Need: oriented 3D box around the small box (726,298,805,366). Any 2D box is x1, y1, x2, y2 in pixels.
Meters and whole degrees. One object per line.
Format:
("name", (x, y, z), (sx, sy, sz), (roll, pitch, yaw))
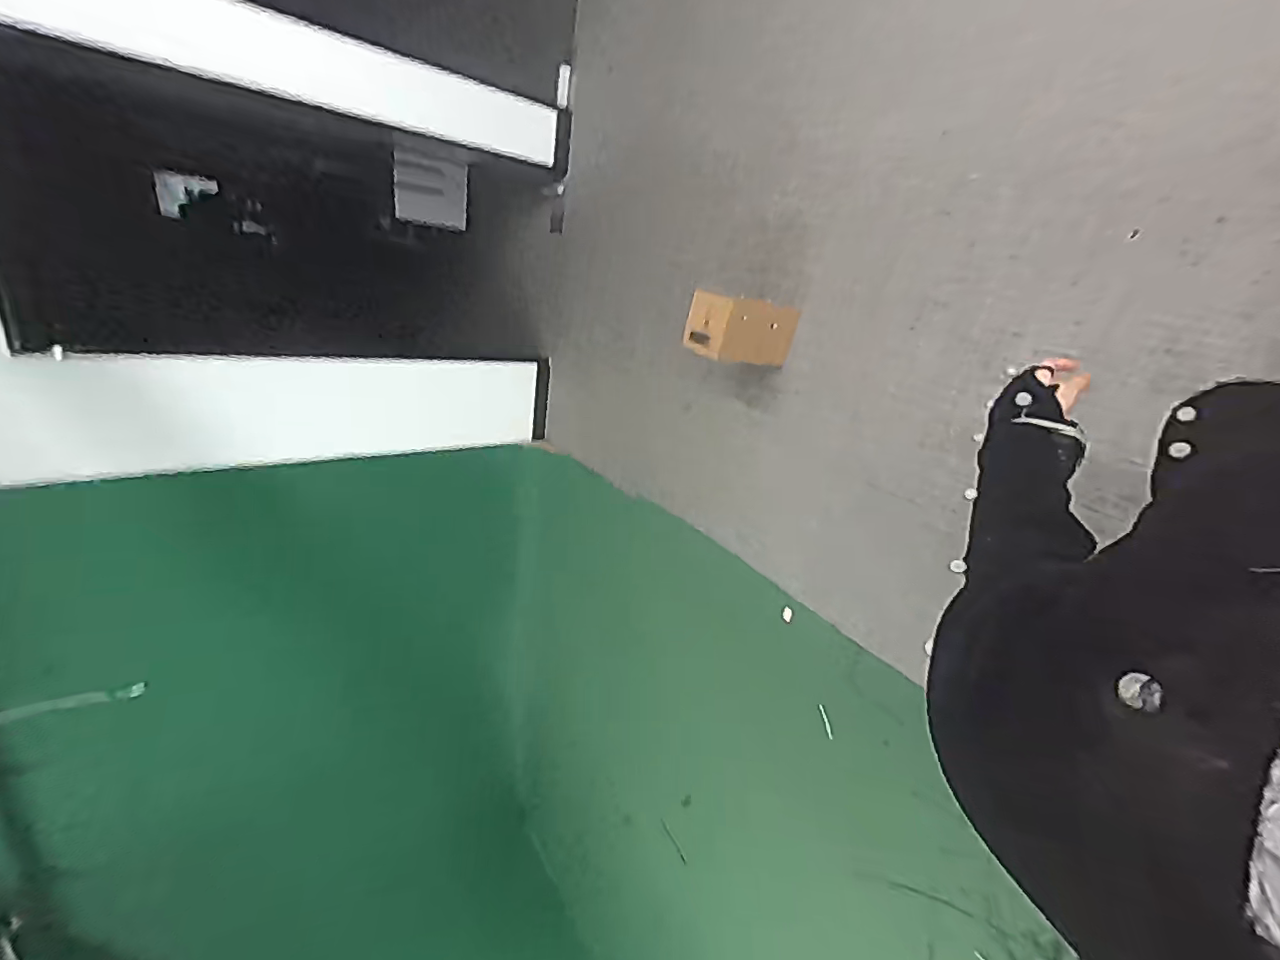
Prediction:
("small box", (0.417, -0.487, 1.783), (0.168, 0.176, 0.179), (39, 126, 42))
